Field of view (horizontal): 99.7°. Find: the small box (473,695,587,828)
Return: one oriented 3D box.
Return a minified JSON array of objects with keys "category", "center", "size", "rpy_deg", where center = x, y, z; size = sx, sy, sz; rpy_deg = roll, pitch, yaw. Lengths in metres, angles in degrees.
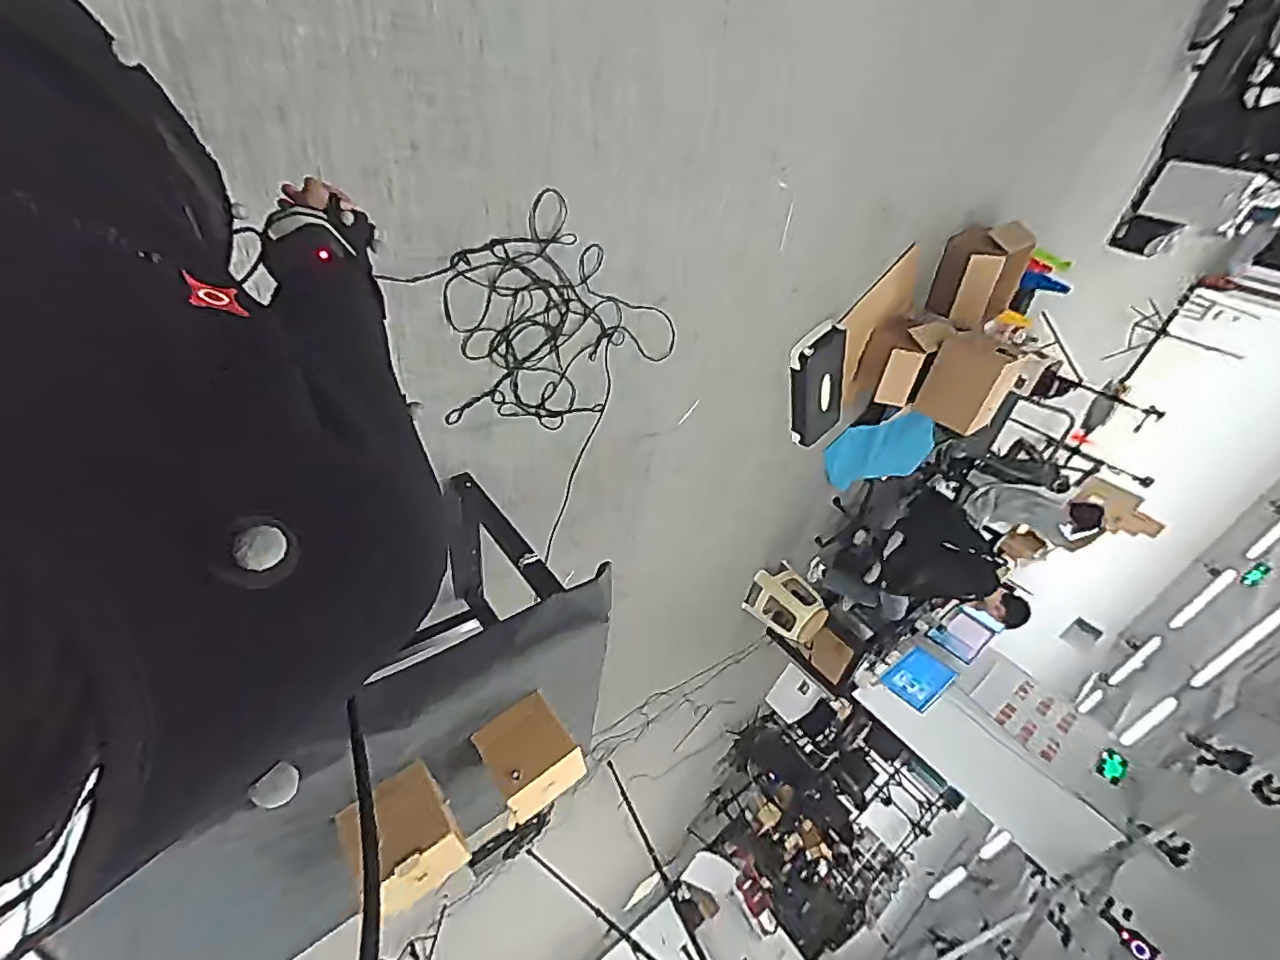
[{"category":"small box","center":[-0.242,0.618,1.201],"size":[0.179,0.176,0.168],"rpy_deg":[-30,140,-25]}]

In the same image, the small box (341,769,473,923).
[{"category":"small box","center":[-0.454,0.706,1.057],"size":[0.168,0.176,0.179],"rpy_deg":[-28,140,-26]}]
